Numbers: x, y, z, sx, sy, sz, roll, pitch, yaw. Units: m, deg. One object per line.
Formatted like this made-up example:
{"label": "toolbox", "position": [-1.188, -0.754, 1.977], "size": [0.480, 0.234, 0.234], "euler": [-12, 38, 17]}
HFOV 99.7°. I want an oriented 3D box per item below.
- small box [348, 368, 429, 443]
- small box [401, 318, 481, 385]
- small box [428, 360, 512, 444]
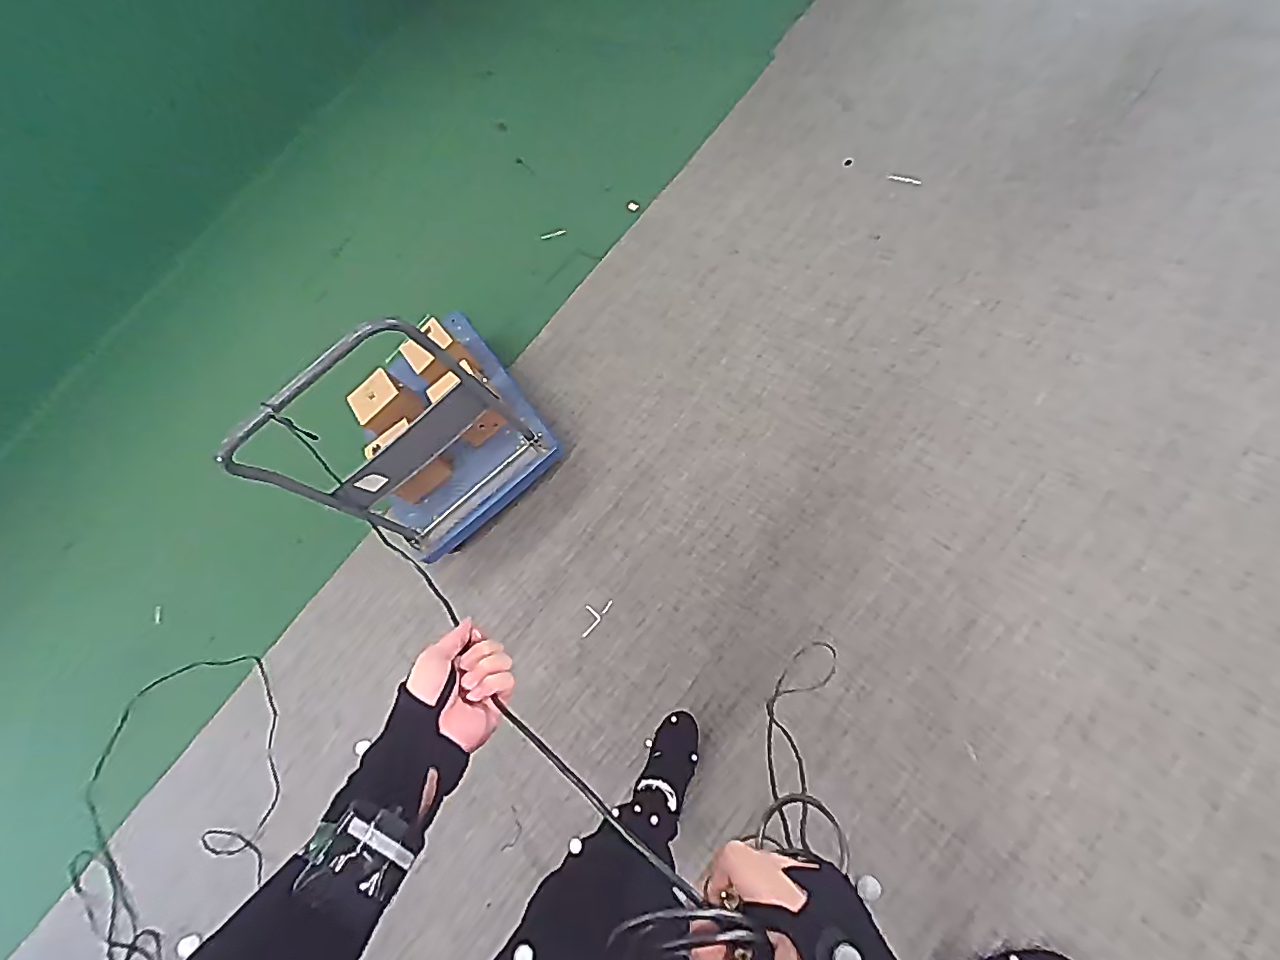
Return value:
{"label": "small box", "position": [-0.881, -0.255, 1.907], "size": [0.168, 0.176, 0.179], "euler": [-43, 58, -1]}
{"label": "small box", "position": [-0.698, -0.428, 1.908], "size": [0.168, 0.176, 0.179], "euler": [-44, 59, 1]}
{"label": "small box", "position": [-0.553, -0.248, 1.767], "size": [0.168, 0.176, 0.179], "euler": [-39, 59, 2]}
